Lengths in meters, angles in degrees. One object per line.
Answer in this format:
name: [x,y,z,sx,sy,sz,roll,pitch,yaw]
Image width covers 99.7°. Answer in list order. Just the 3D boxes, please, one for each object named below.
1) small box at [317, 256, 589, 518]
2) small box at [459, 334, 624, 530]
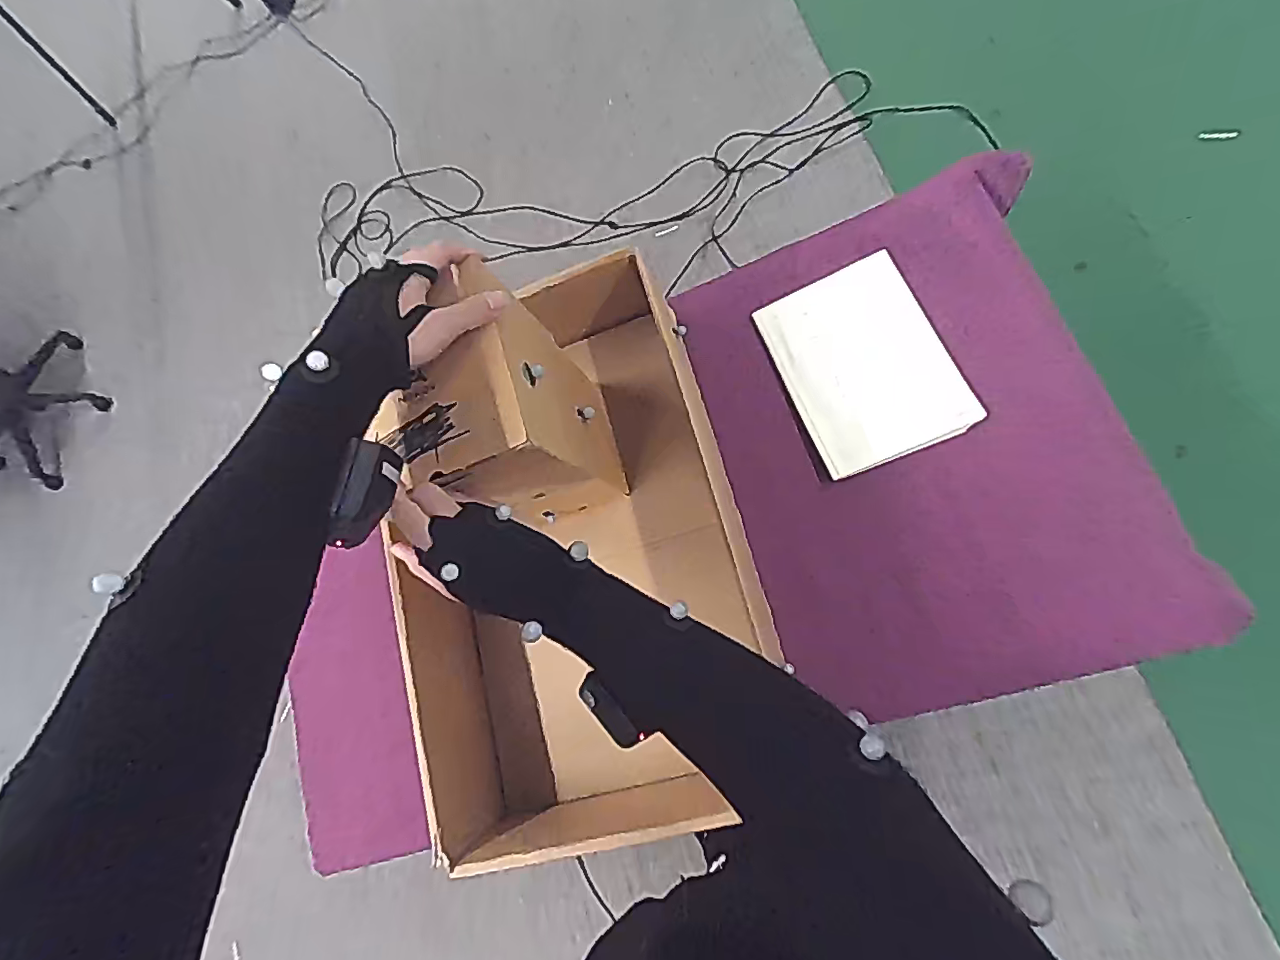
small box: [-0.165,-0.068,0.520,0.168,0.176,0.179,-21,76,9]
small box: [-0.135,-0.047,0.681,0.168,0.176,0.179,-21,77,10]
